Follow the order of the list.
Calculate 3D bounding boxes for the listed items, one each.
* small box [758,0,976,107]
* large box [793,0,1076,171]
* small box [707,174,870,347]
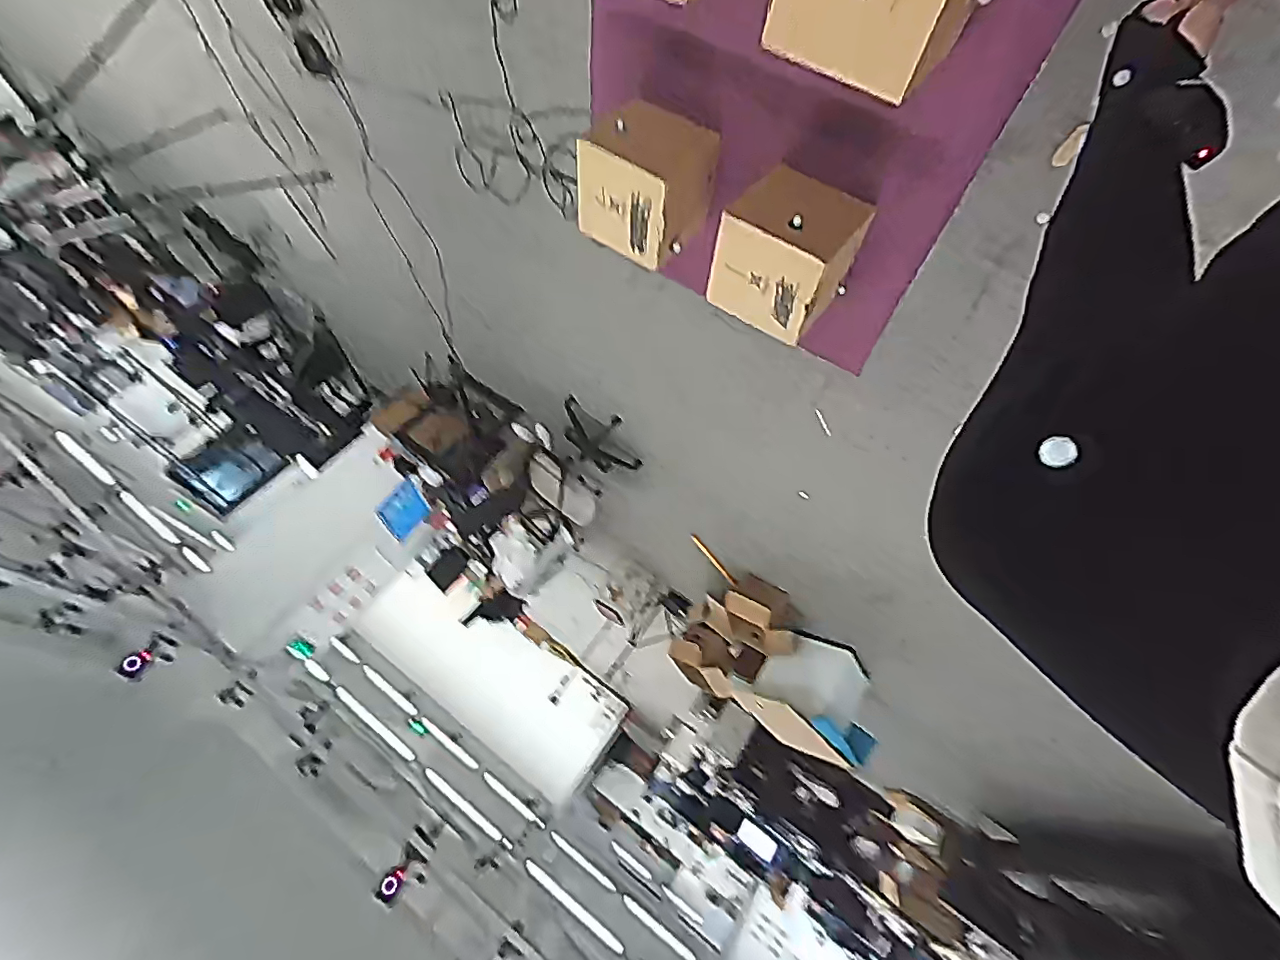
[{"bbox_3d":[0.255,-0.534,0.555,0.179,0.176,0.168,34,155,13],"label":"small box"},{"bbox_3d":[0.588,-0.898,1.066,0.408,0.320,0.320,34,154,15],"label":"large box"},{"bbox_3d":[0.236,-0.356,0.871,0.179,0.176,0.168,34,154,16],"label":"small box"}]
